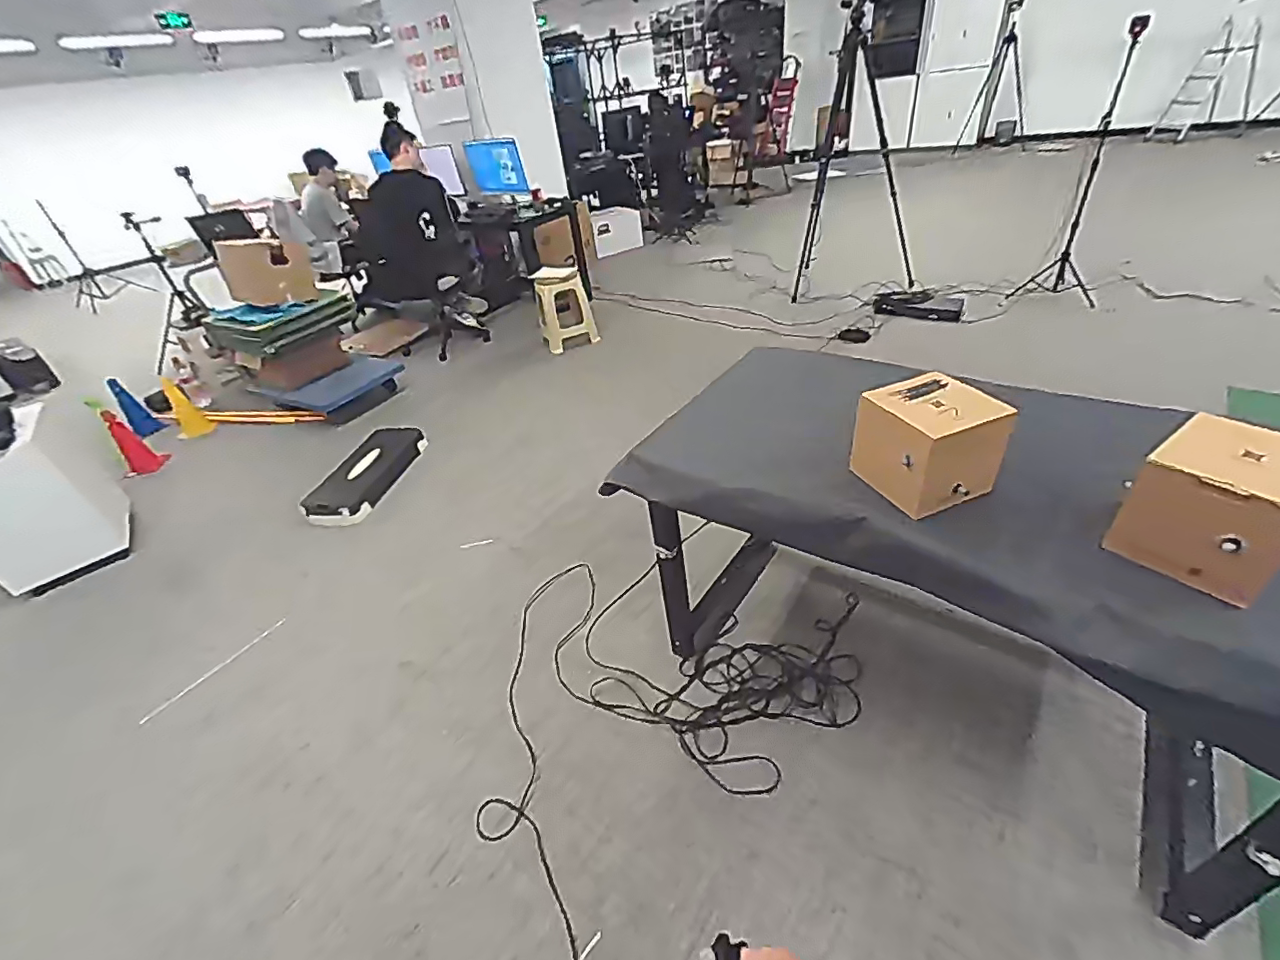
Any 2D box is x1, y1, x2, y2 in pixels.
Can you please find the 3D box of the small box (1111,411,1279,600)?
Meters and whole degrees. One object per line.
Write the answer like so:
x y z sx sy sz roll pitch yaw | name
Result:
0.805 0.033 0.749 0.179 0.176 0.168 -26 39 -24 | small box
